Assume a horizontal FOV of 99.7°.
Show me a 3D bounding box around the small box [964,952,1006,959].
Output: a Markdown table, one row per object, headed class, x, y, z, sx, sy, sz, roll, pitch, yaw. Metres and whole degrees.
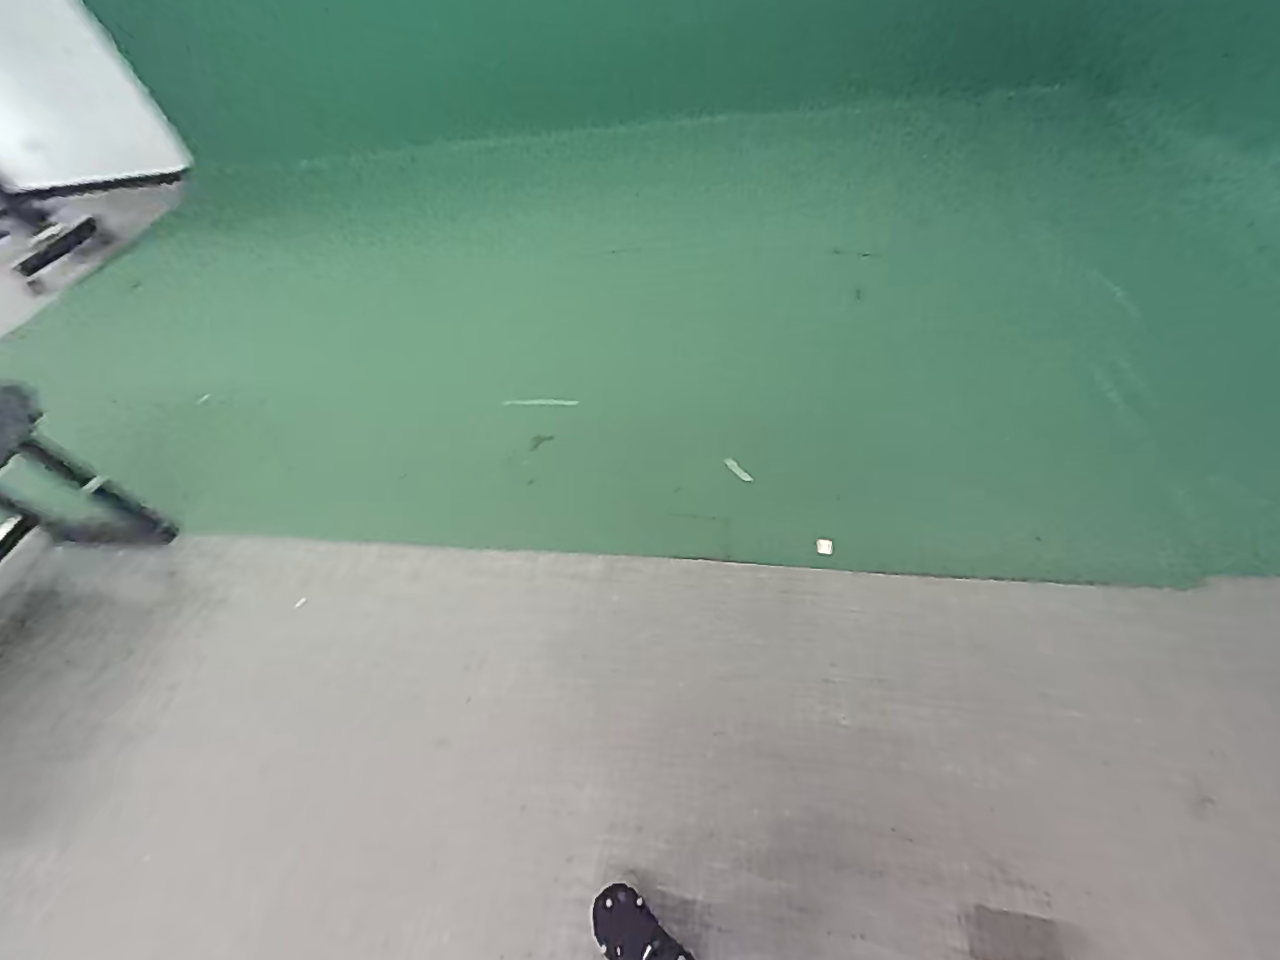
| class | x | y | z | sx | sy | sz | roll | pitch | yaw |
| --- | --- | --- | --- | --- | --- | --- | --- | --- | --- |
| small box | 0.658 | 0.915 | 0.888 | 0.168 | 0.176 | 0.179 | 4 | 54 | 13 |
